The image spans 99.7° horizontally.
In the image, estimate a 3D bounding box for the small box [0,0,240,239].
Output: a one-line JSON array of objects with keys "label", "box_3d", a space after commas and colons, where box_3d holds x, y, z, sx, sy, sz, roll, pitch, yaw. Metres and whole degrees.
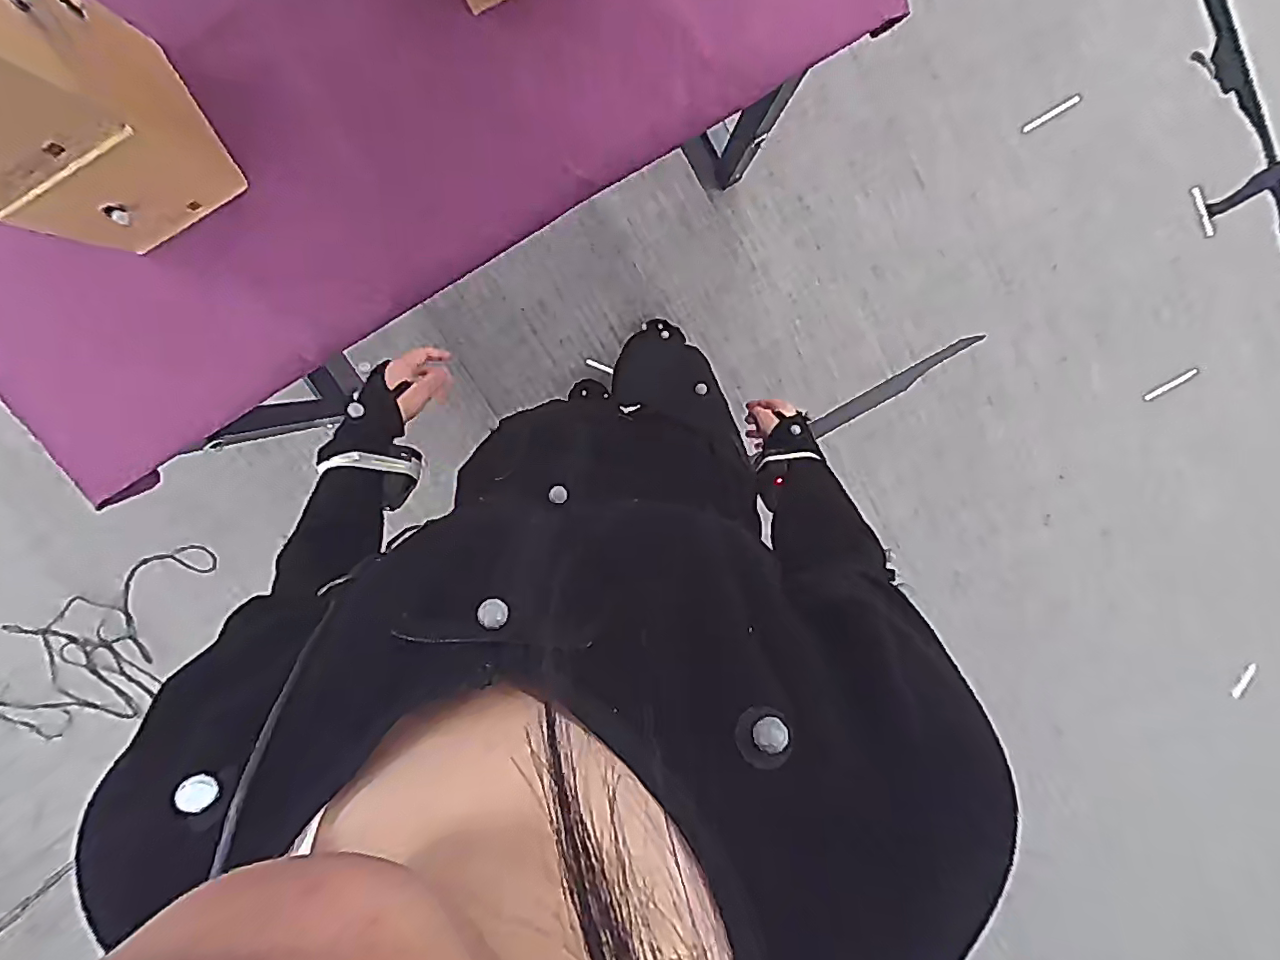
[{"label": "small box", "box_3d": [-0.581, -0.376, 0.564, 0.168, 0.176, 0.179, -29, 101, 4]}]

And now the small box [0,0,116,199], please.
[{"label": "small box", "box_3d": [-0.578, -0.348, 0.402, 0.168, 0.176, 0.179, -30, 100, 4]}]
